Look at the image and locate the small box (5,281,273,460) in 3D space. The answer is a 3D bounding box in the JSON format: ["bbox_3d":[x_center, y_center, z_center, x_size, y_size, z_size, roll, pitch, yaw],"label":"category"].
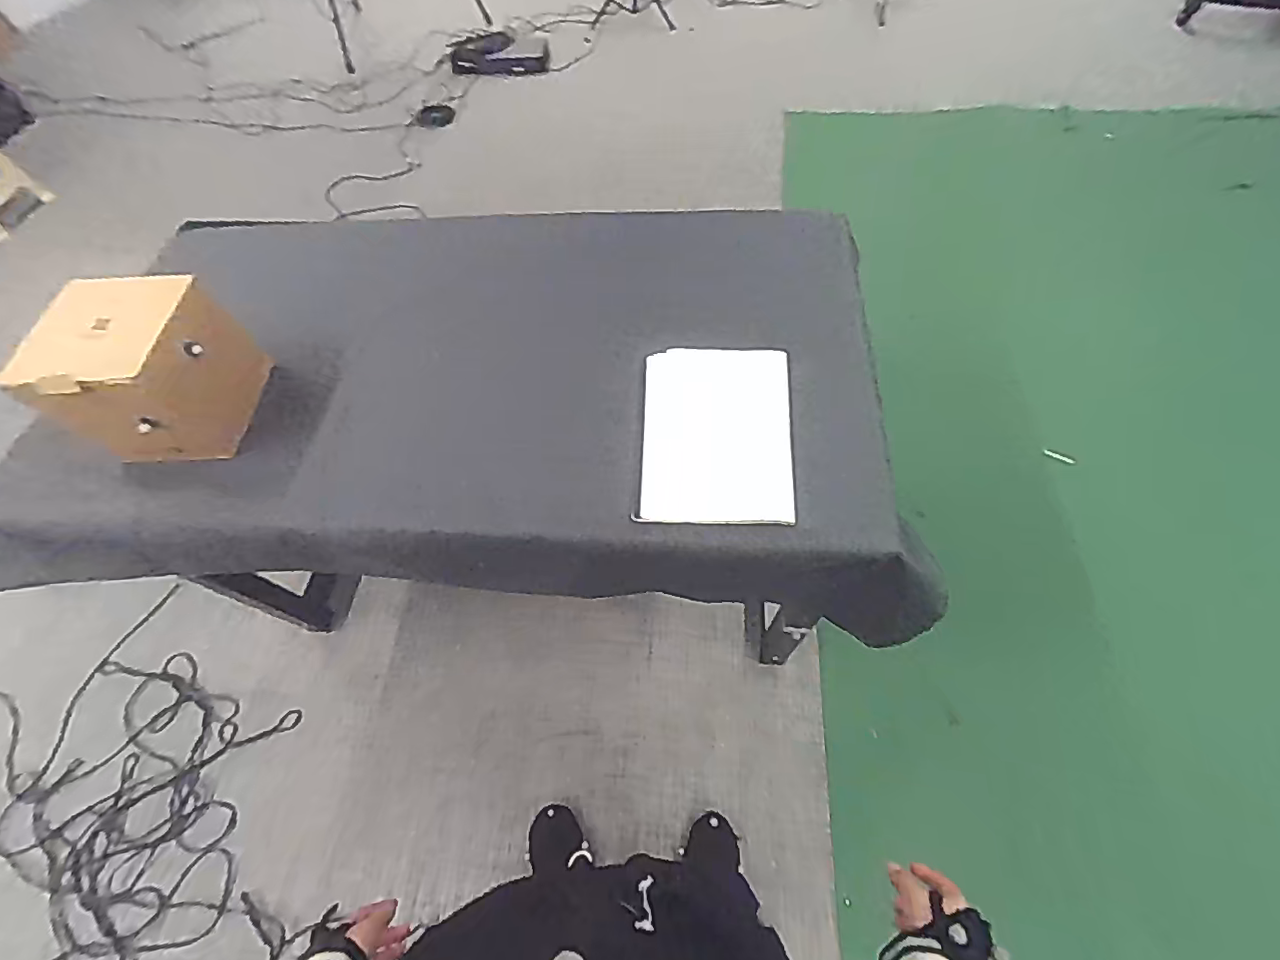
[{"bbox_3d":[-0.636,-0.136,0.720,0.168,0.176,0.179,-2,59,2],"label":"small box"}]
